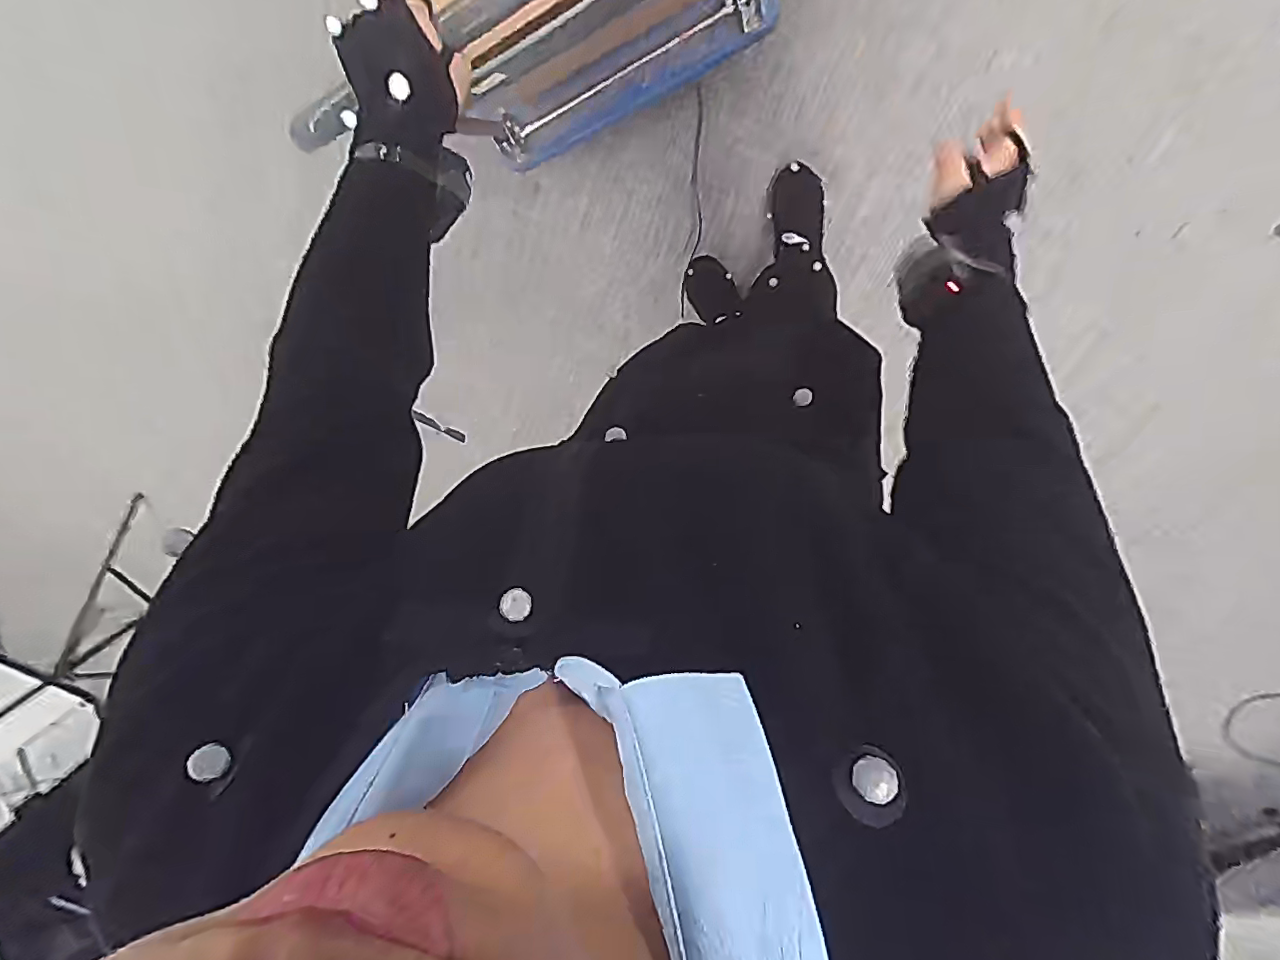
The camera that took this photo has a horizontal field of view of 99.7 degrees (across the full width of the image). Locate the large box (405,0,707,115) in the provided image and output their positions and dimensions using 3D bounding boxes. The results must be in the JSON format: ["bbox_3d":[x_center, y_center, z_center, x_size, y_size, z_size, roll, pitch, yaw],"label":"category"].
[{"bbox_3d":[-0.141,-0.826,0.809,0.408,0.320,0.320,-17,114,19],"label":"large box"}]
